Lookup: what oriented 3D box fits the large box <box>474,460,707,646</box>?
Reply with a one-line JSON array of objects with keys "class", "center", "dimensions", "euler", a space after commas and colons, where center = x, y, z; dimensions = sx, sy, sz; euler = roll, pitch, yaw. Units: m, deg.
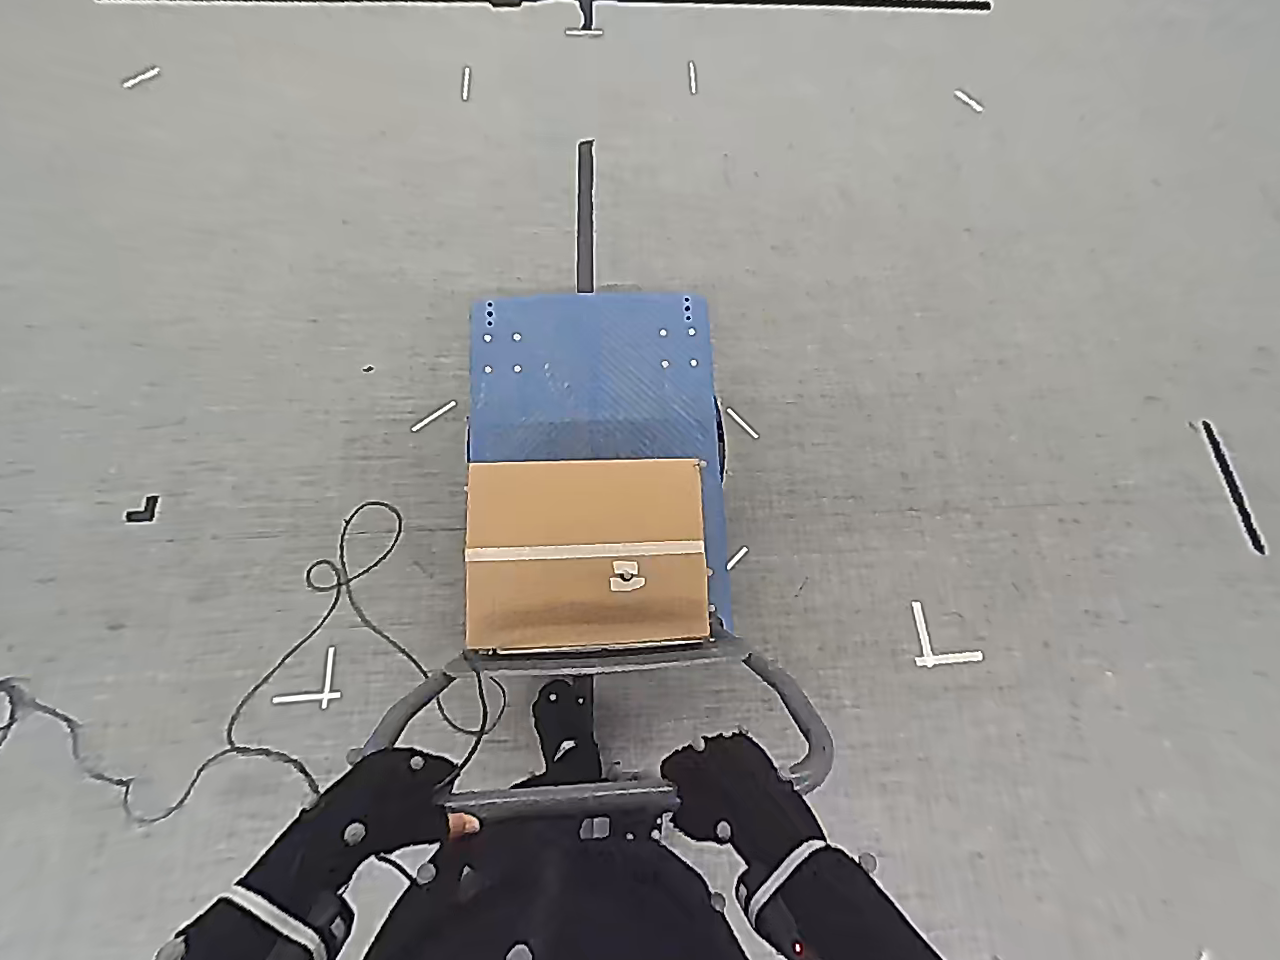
[{"class": "large box", "center": [-0.099, 0.147, 1.089], "dimensions": [0.408, 0.320, 0.320], "euler": [-1, 81, -4]}]
